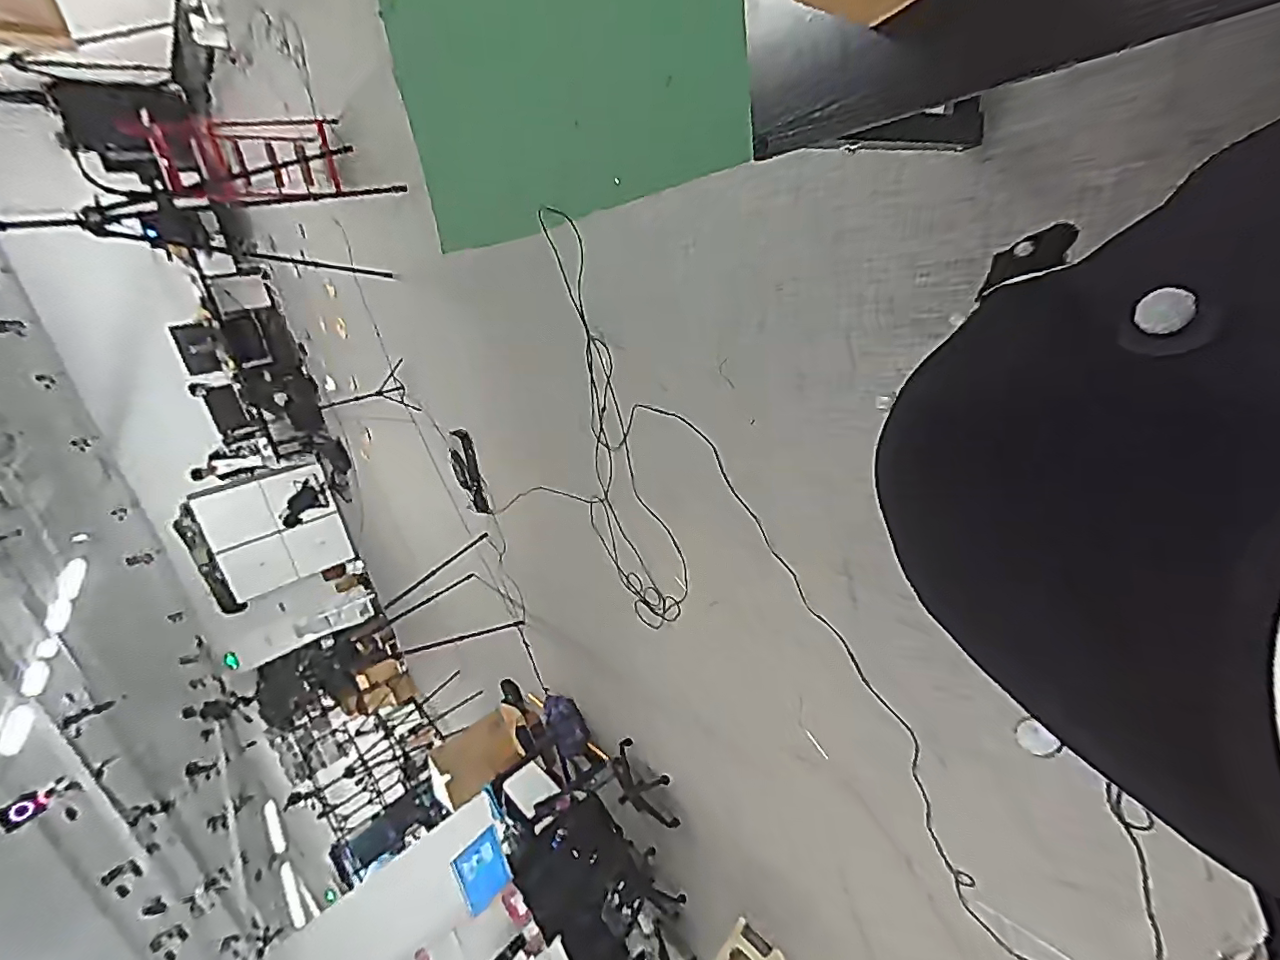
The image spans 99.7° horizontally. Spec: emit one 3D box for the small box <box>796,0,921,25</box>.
[{"bbox_3d":[0.251,-0.592,0.523,0.168,0.176,0.179,2,113,50],"label":"small box"}]
